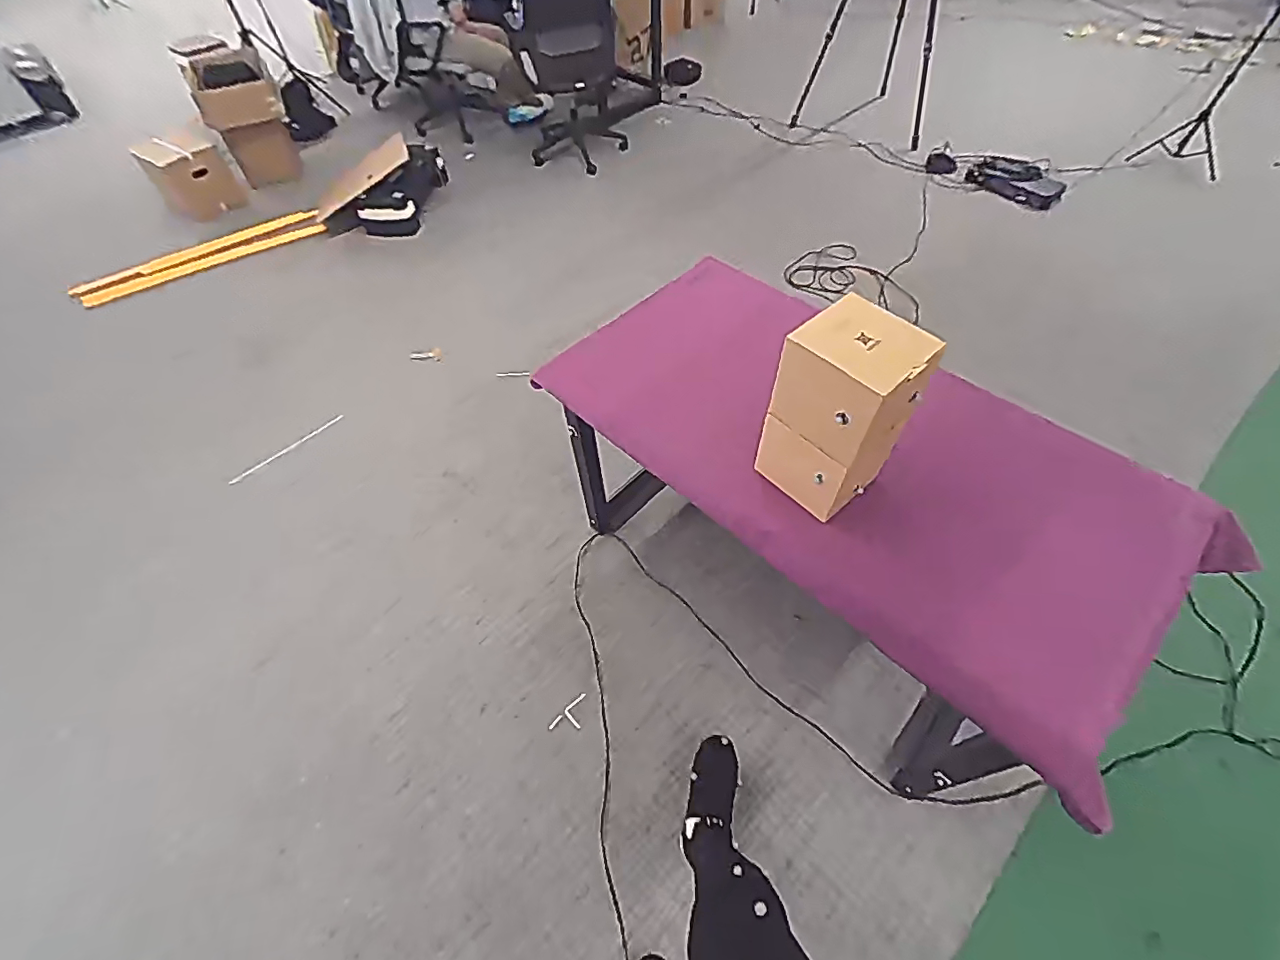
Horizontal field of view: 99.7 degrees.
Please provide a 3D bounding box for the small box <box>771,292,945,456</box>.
[{"bbox_3d":[0.336,-0.162,0.869,0.168,0.176,0.179,-36,60,-21],"label":"small box"}]
